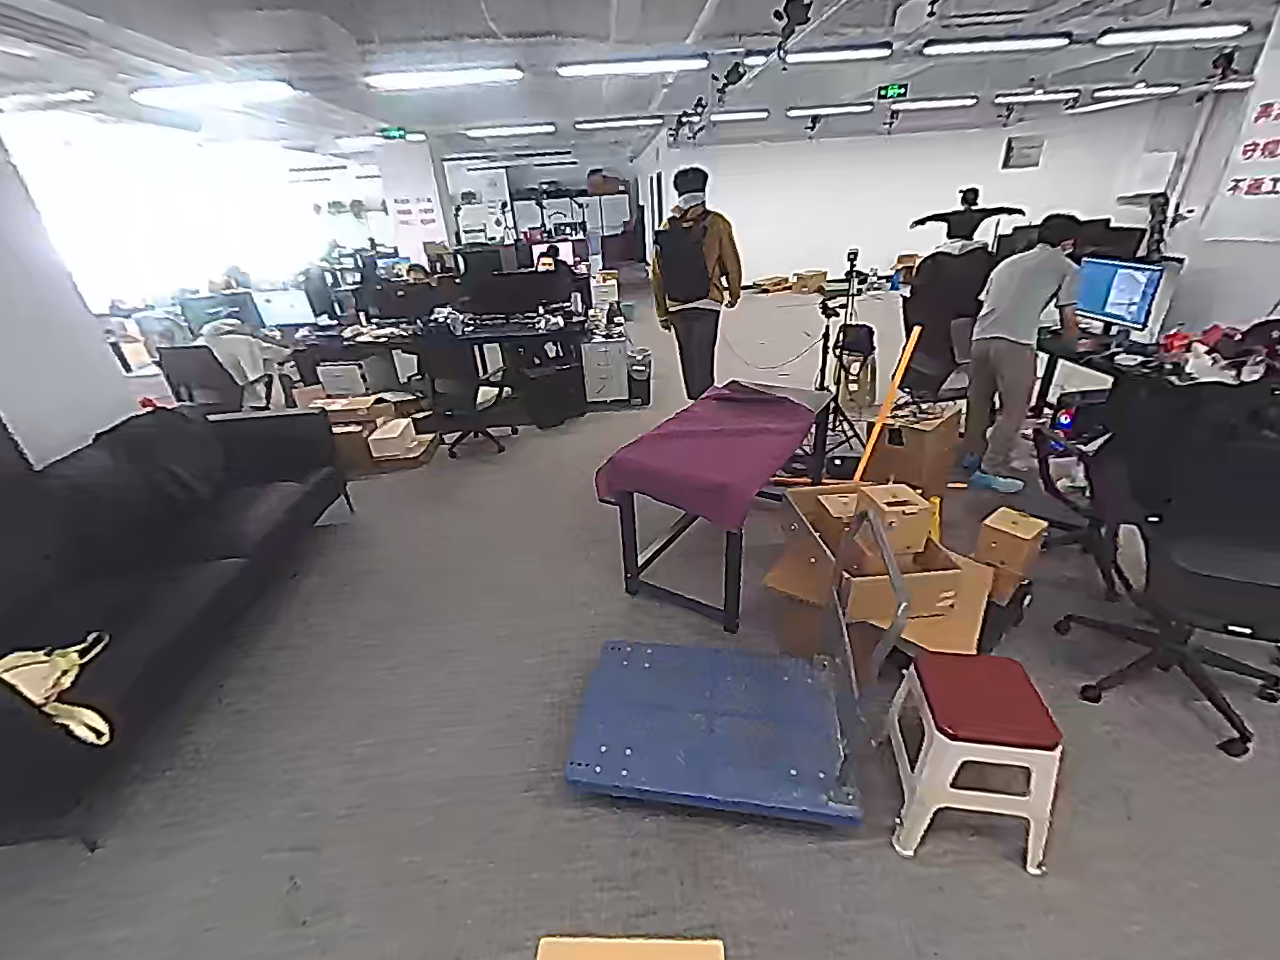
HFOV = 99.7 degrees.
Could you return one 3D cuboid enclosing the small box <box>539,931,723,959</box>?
[{"bbox_3d":[-0.010,0.524,0.447,0.168,0.176,0.179,-2,25,5],"label":"small box"}]
